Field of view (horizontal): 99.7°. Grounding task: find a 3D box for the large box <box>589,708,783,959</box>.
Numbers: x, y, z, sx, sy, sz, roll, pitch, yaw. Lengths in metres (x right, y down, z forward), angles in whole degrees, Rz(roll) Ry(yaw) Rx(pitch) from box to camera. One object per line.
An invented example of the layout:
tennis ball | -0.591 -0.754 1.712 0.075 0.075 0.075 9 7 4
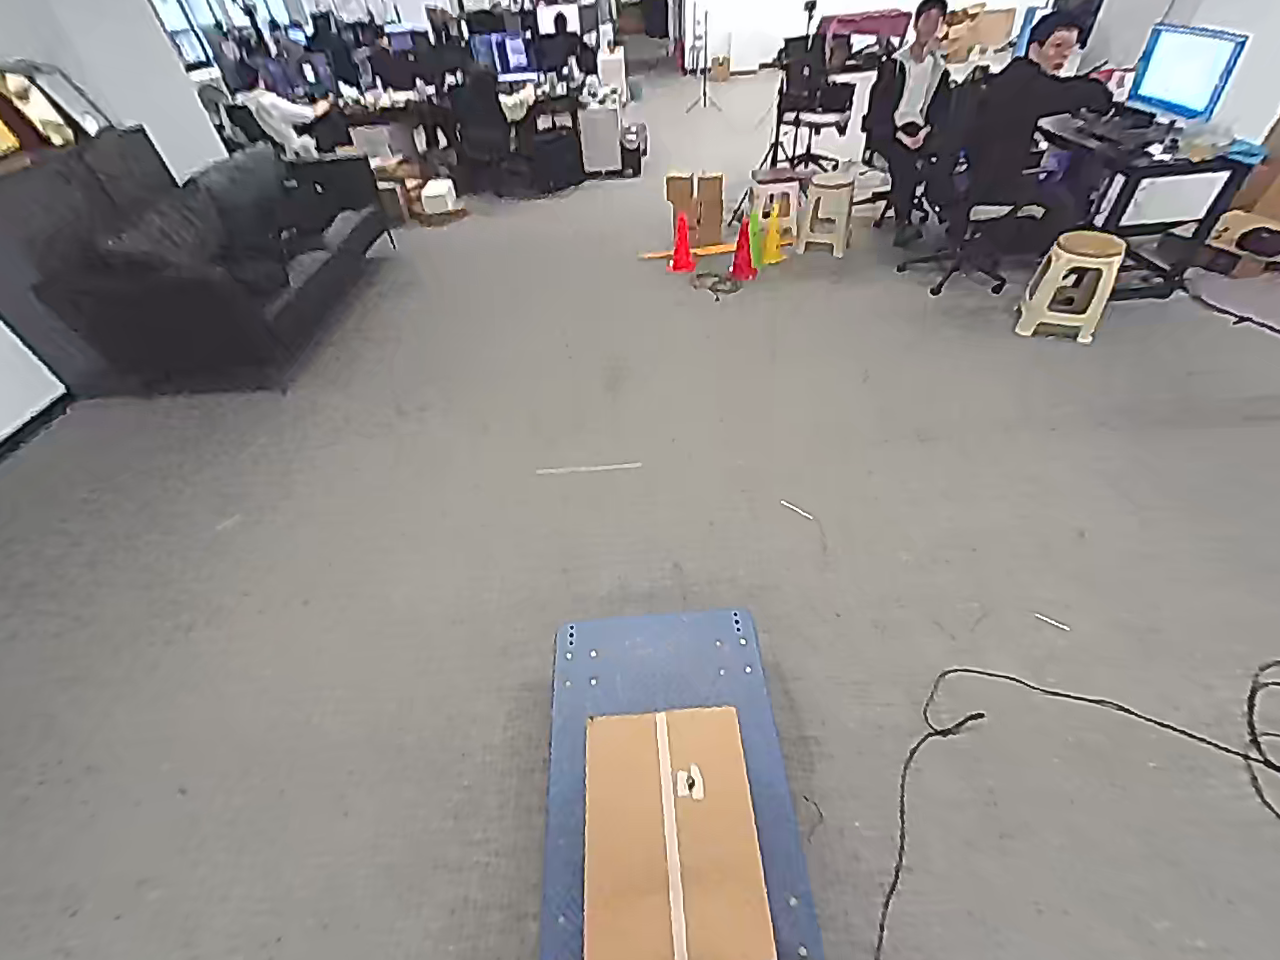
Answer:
large box | 0.074 0.733 1.096 0.320 0.320 0.408 -5 48 0
